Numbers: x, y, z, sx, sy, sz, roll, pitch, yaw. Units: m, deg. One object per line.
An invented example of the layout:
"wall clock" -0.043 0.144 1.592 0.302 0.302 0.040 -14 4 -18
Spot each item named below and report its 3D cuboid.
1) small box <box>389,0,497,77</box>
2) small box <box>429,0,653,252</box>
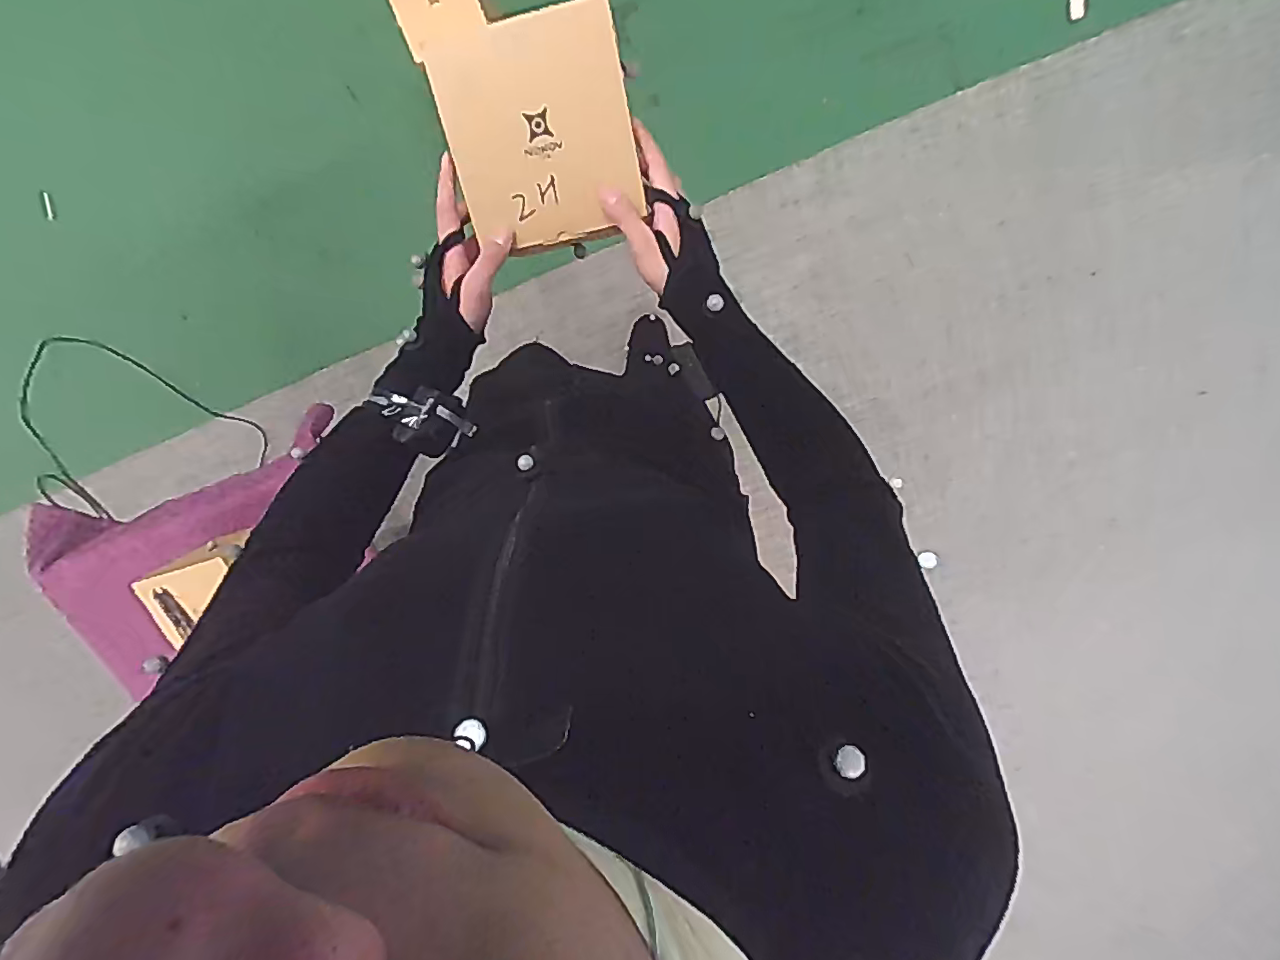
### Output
"small box" -0.390 -0.952 1.106 0.168 0.176 0.179 -19 105 11
"small box" -0.083 -0.339 0.551 0.168 0.176 0.179 -9 113 6
